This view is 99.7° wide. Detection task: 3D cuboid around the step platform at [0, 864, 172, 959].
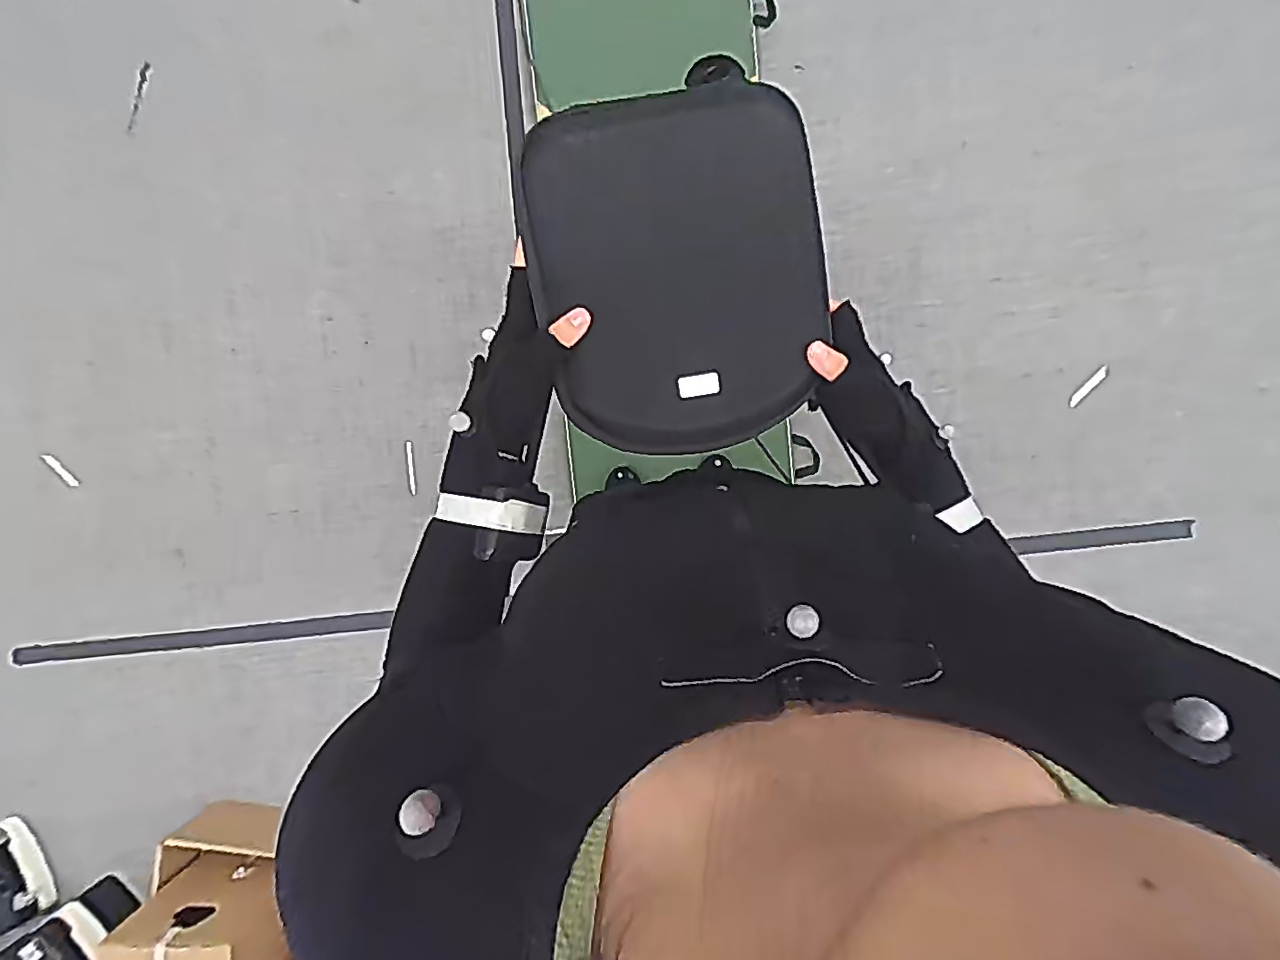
[{"bbox_3d":[-1.710,1.410,1.503,0.684,0.204,0.286,-35,91,1],"label":"step platform"}]
